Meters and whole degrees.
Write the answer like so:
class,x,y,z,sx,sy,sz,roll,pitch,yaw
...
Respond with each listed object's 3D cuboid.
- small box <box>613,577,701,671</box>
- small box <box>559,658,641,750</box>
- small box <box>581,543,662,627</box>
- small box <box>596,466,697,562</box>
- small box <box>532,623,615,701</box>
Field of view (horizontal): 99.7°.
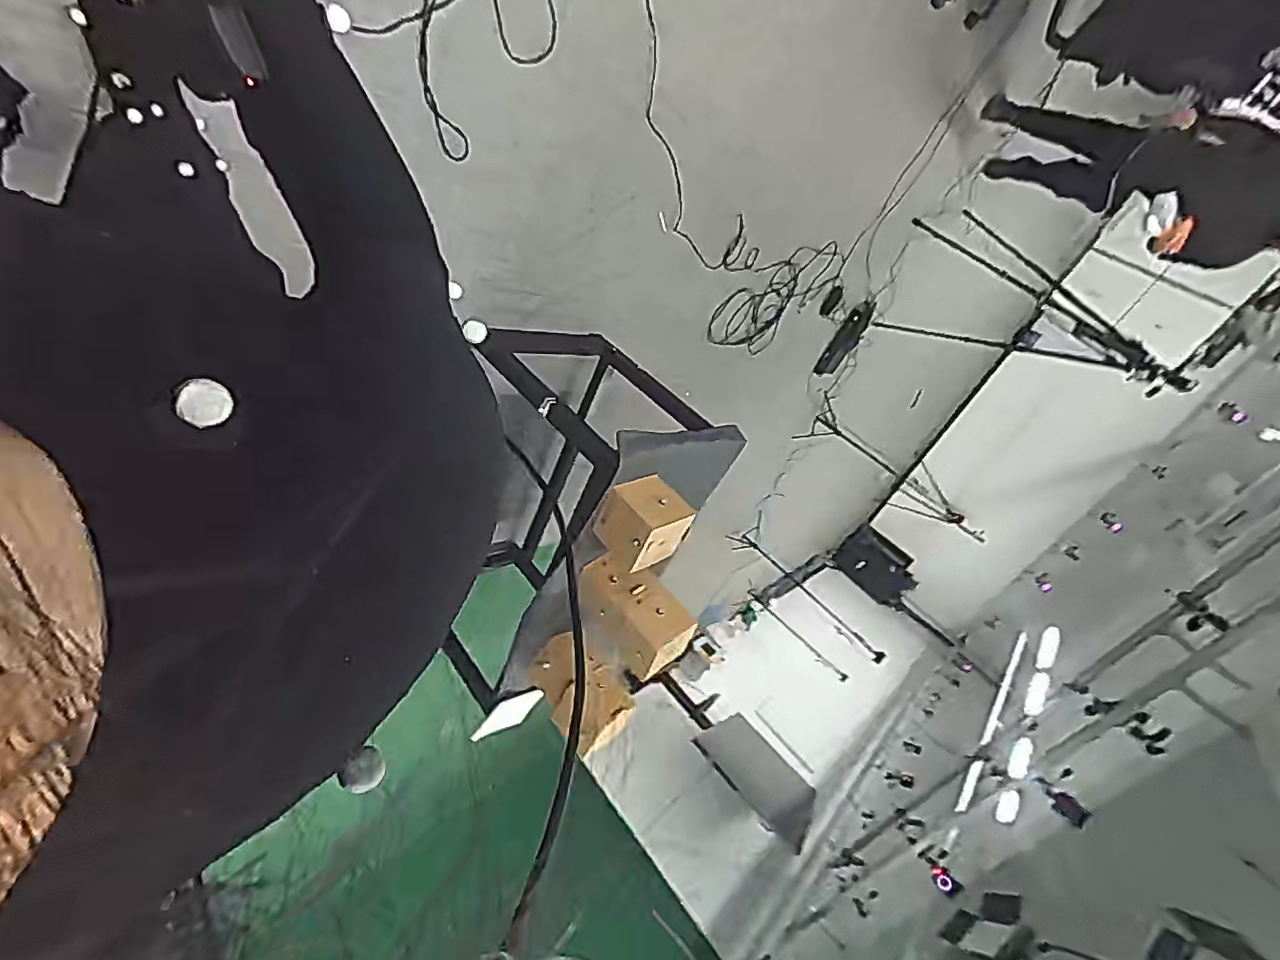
class,x,y,z,sx,sy,sz,roll,pitch,yaw
small box,0.042,0.404,1.558,0.168,0.176,0.179,-23,145,-37
small box,-0.133,0.701,1.709,0.168,0.176,0.179,-14,138,-48
small box,-0.063,0.302,1.635,0.168,0.176,0.179,-25,147,-35
small box,0.014,0.083,1.439,0.179,0.176,0.168,-17,141,-44
small box,-0.222,0.596,1.799,0.168,0.176,0.179,-55,152,16
